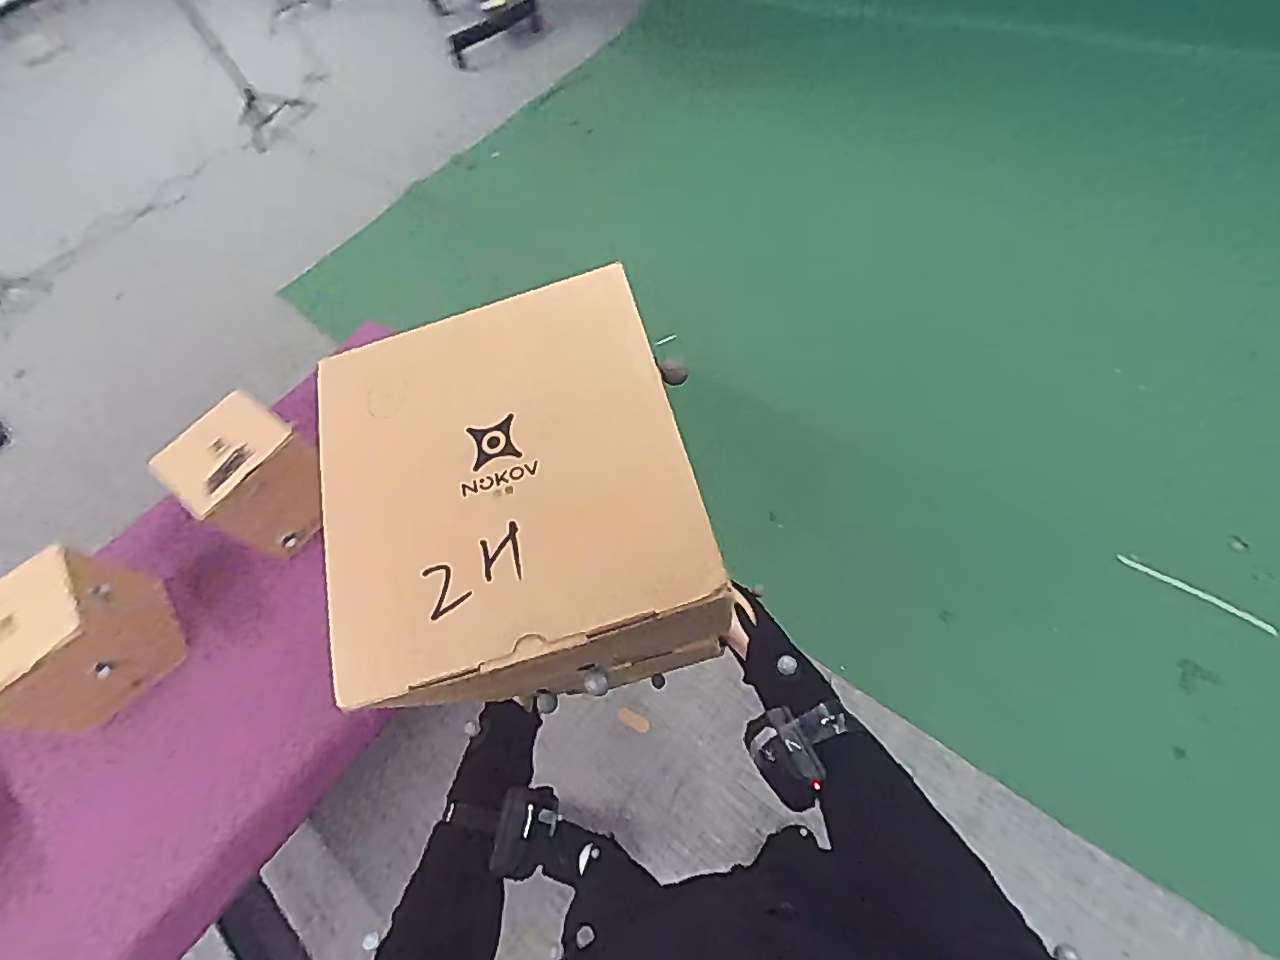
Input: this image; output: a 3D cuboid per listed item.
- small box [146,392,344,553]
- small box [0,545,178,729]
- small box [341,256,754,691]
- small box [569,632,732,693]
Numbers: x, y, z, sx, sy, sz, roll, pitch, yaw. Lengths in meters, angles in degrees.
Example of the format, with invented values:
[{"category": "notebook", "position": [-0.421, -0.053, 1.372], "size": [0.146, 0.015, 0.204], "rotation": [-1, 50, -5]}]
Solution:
[{"category": "small box", "position": [-0.611, -0.004, 0.867], "size": [0.179, 0.176, 0.168], "rotation": [29, 69, 25]}, {"category": "small box", "position": [-0.815, 0.230, 0.768], "size": [0.168, 0.176, 0.179], "rotation": [-40, 61, -14]}, {"category": "small box", "position": [-0.043, 0.014, 0.314], "size": [0.168, 0.176, 0.179], "rotation": [-17, 68, 3]}, {"category": "small box", "position": [0.002, 0.131, 0.618], "size": [0.168, 0.176, 0.179], "rotation": [-17, 68, 2]}]
